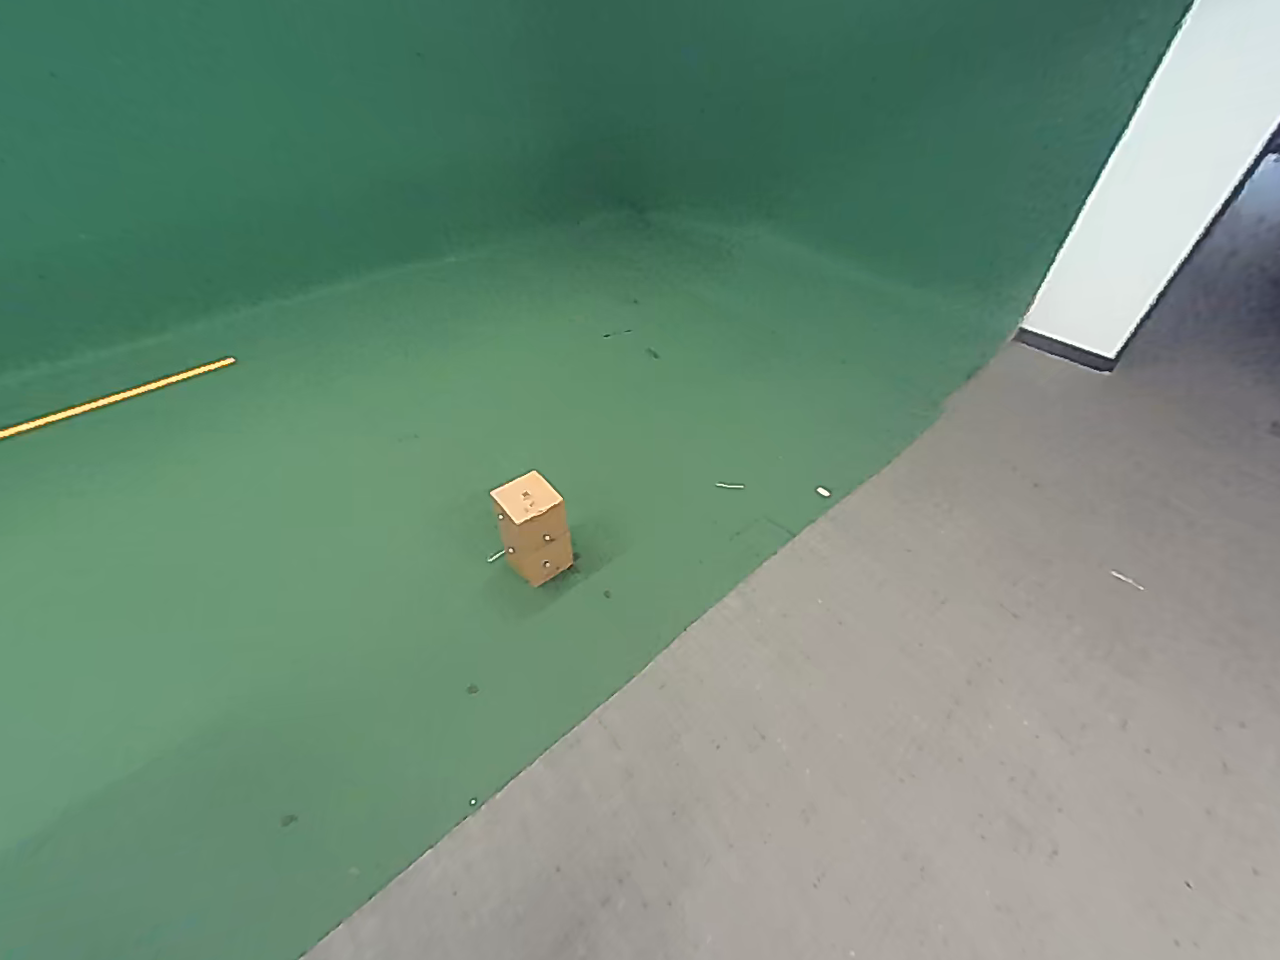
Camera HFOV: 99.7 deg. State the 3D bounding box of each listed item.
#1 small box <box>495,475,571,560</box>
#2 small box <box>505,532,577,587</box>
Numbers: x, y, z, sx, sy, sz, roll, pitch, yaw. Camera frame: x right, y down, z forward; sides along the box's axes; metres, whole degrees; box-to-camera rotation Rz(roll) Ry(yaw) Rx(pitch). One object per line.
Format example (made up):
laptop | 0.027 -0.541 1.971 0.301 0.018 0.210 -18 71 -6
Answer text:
small box | -0.338 0.122 1.726 0.168 0.176 0.179 -30 51 -26
small box | -0.332 0.240 1.842 0.168 0.176 0.179 -32 51 -28
